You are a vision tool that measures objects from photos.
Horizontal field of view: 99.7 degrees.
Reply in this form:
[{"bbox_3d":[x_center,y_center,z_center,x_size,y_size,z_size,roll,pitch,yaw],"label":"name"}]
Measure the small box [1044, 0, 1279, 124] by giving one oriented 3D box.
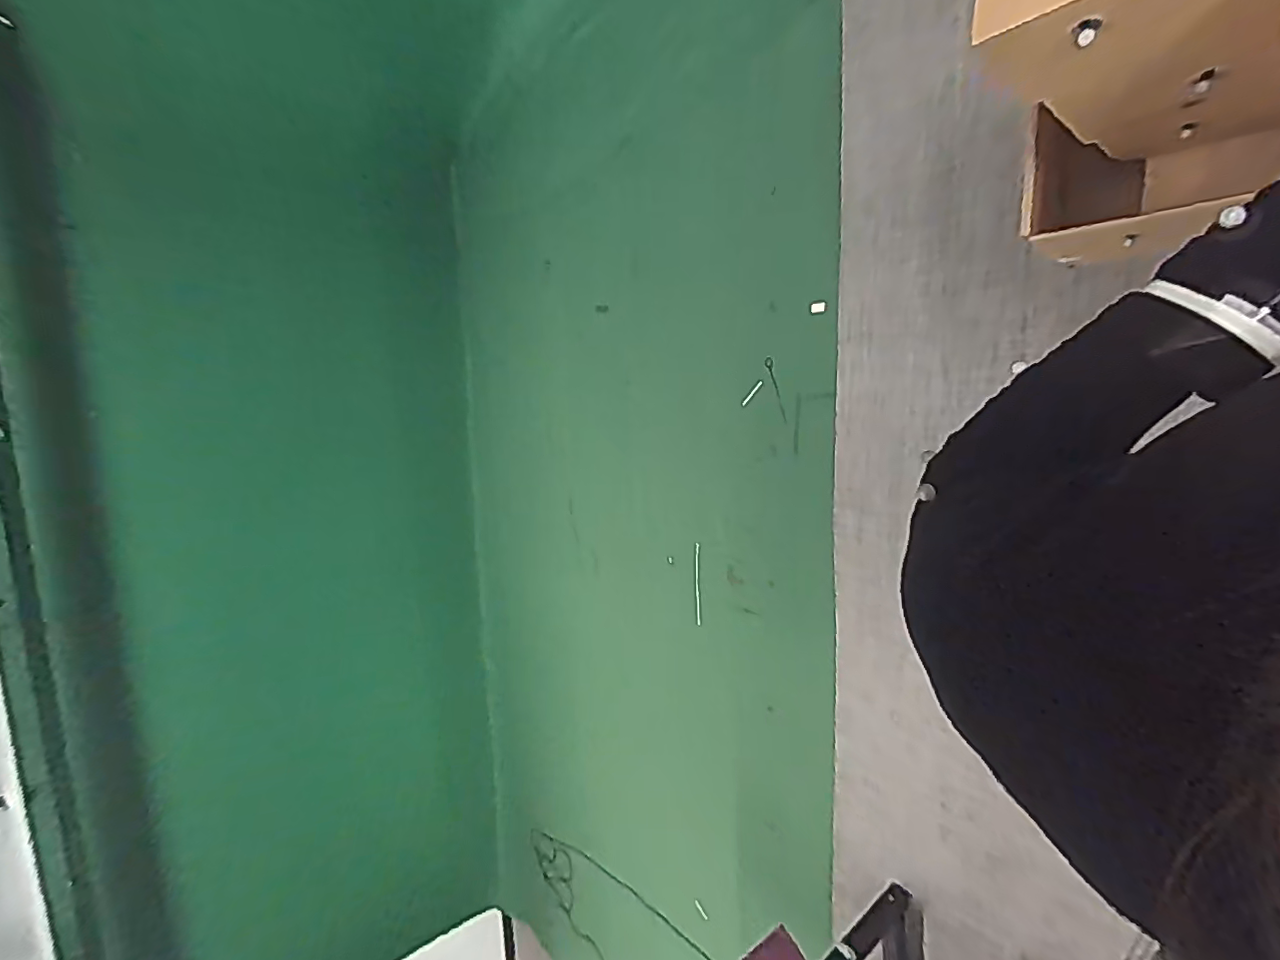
[{"bbox_3d":[0.555,-0.504,0.564,0.168,0.176,0.179,11,104,51],"label":"small box"}]
